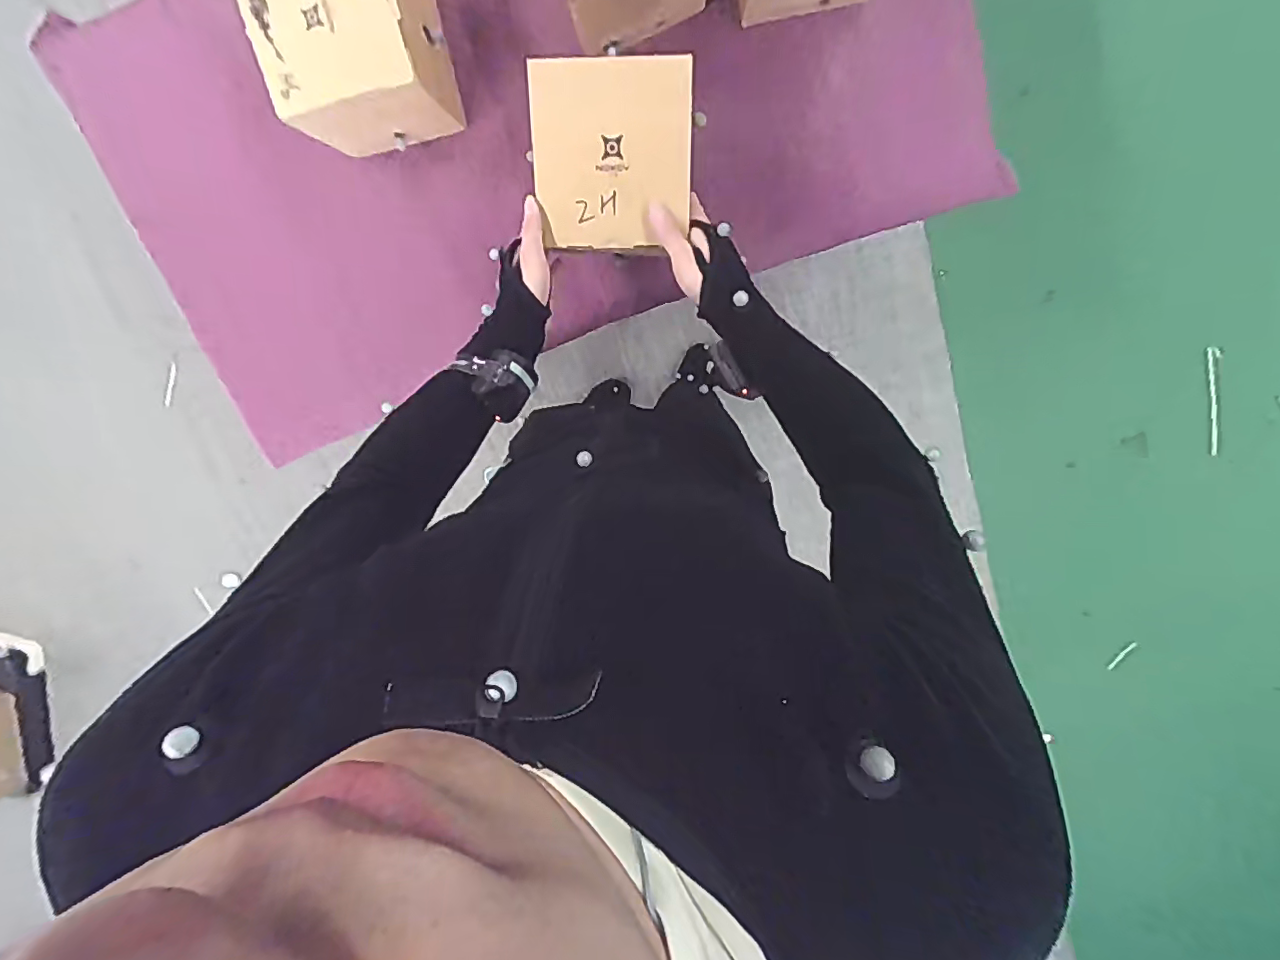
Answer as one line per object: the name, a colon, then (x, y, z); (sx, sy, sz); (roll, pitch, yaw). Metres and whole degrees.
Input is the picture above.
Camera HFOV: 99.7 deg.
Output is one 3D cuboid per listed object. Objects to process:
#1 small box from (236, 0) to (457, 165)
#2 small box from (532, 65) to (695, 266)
small box: (-0.350, -0.523, 0.681); (0.179, 0.176, 0.168); (-11, 105, 6)
small box: (-0.027, -0.352, 0.636); (0.168, 0.176, 0.179); (2, 110, 2)
